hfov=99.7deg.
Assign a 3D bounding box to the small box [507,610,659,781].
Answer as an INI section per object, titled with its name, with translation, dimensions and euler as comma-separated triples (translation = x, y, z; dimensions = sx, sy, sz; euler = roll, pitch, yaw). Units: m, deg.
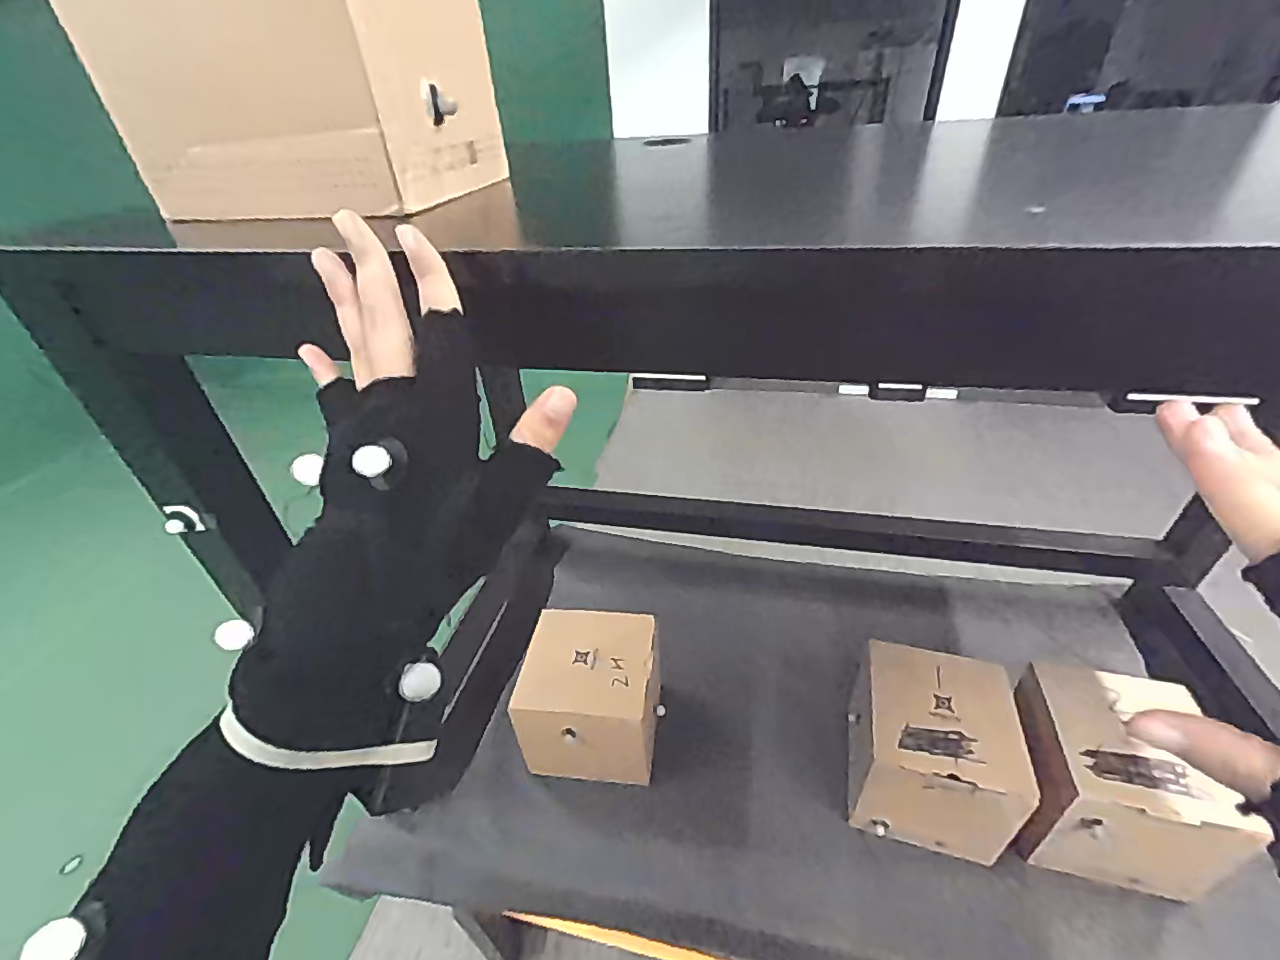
[small box]
translation = -0.069, 0.311, 0.786
dimensions = 0.179, 0.176, 0.168
euler = 2, 37, 8
